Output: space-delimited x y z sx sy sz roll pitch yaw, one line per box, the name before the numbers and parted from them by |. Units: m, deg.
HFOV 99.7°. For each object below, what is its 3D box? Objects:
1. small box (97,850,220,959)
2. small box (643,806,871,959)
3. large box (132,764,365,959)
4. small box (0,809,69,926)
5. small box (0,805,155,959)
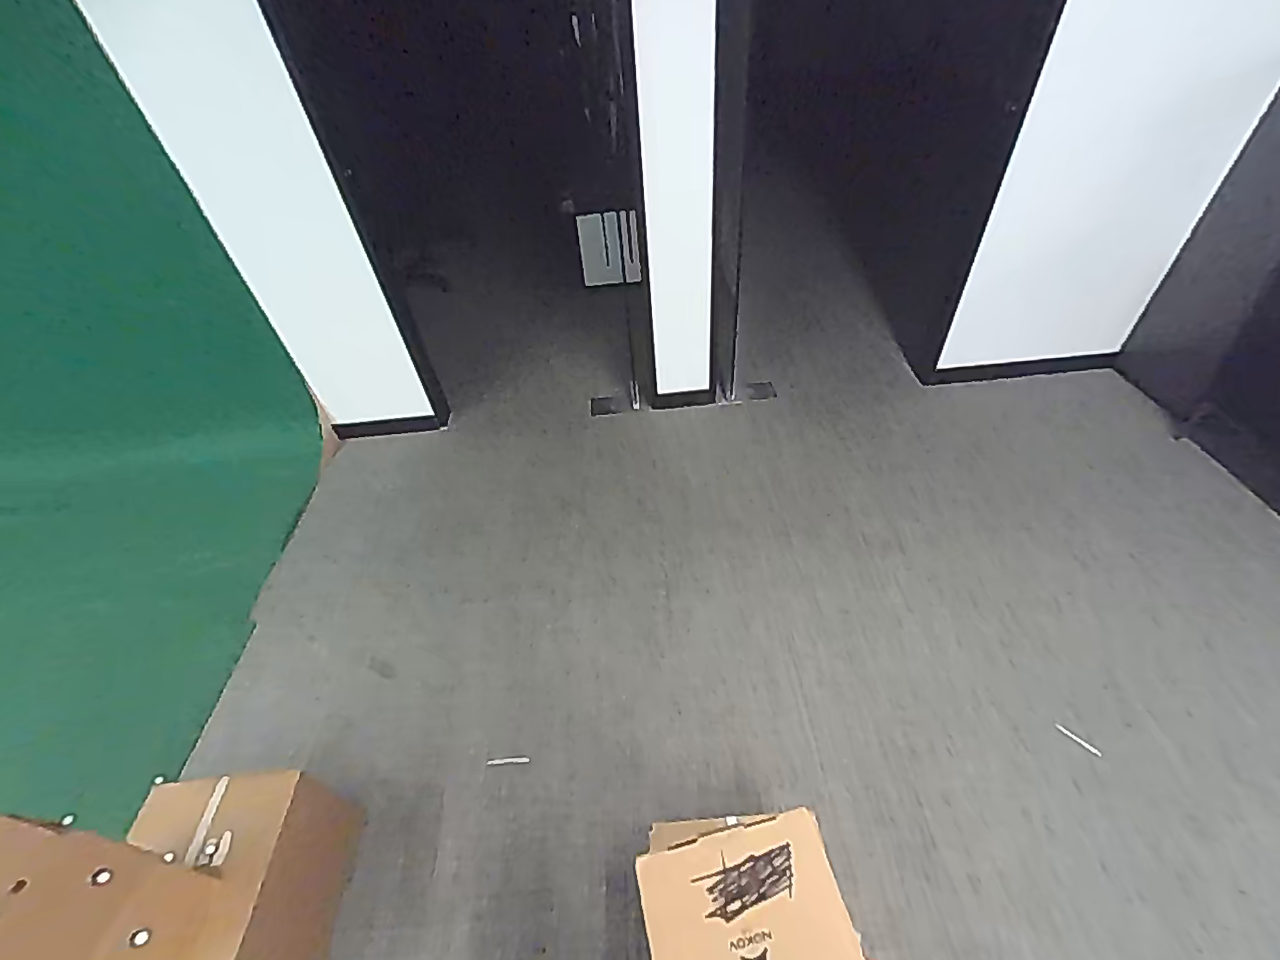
small box | -0.843 0.720 0.883 0.168 0.176 0.179 1 46 8
small box | 0.106 0.427 0.490 0.168 0.176 0.179 -14 50 -2
large box | -0.821 0.855 1.089 0.320 0.320 0.408 -6 44 0
small box | -0.885 0.486 0.657 0.179 0.176 0.168 4 46 12
small box | -0.862 0.599 0.775 0.168 0.176 0.179 3 46 11
